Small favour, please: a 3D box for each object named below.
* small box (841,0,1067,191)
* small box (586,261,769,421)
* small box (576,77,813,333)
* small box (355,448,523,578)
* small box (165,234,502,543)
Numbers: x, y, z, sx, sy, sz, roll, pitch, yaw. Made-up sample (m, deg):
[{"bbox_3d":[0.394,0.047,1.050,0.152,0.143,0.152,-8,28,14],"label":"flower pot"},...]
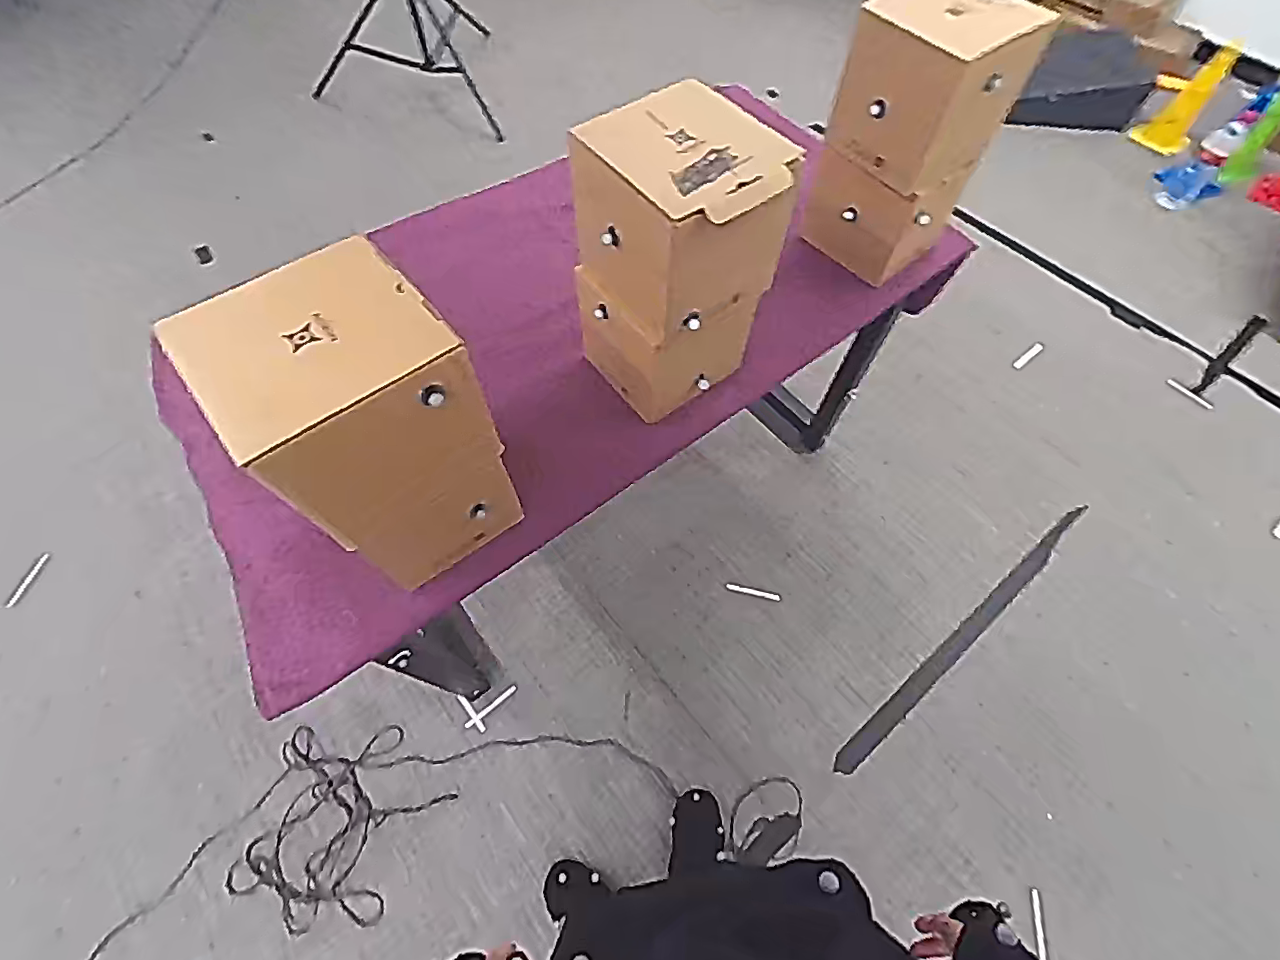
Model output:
[{"bbox_3d":[0.396,-0.526,0.723,0.179,0.176,0.168,-33,67,-16],"label":"small box"},{"bbox_3d":[0.042,-0.215,0.743,0.179,0.176,0.168,-34,68,-17],"label":"small box"},{"bbox_3d":[0.052,-0.288,0.595,0.168,0.176,0.179,-33,68,-16],"label":"small box"},{"bbox_3d":[-0.256,-0.006,0.630,0.168,0.176,0.179,-34,67,-18],"label":"small box"},{"bbox_3d":[-0.248,-0.072,0.482,0.179,0.176,0.168,-37,69,-20],"label":"small box"}]
